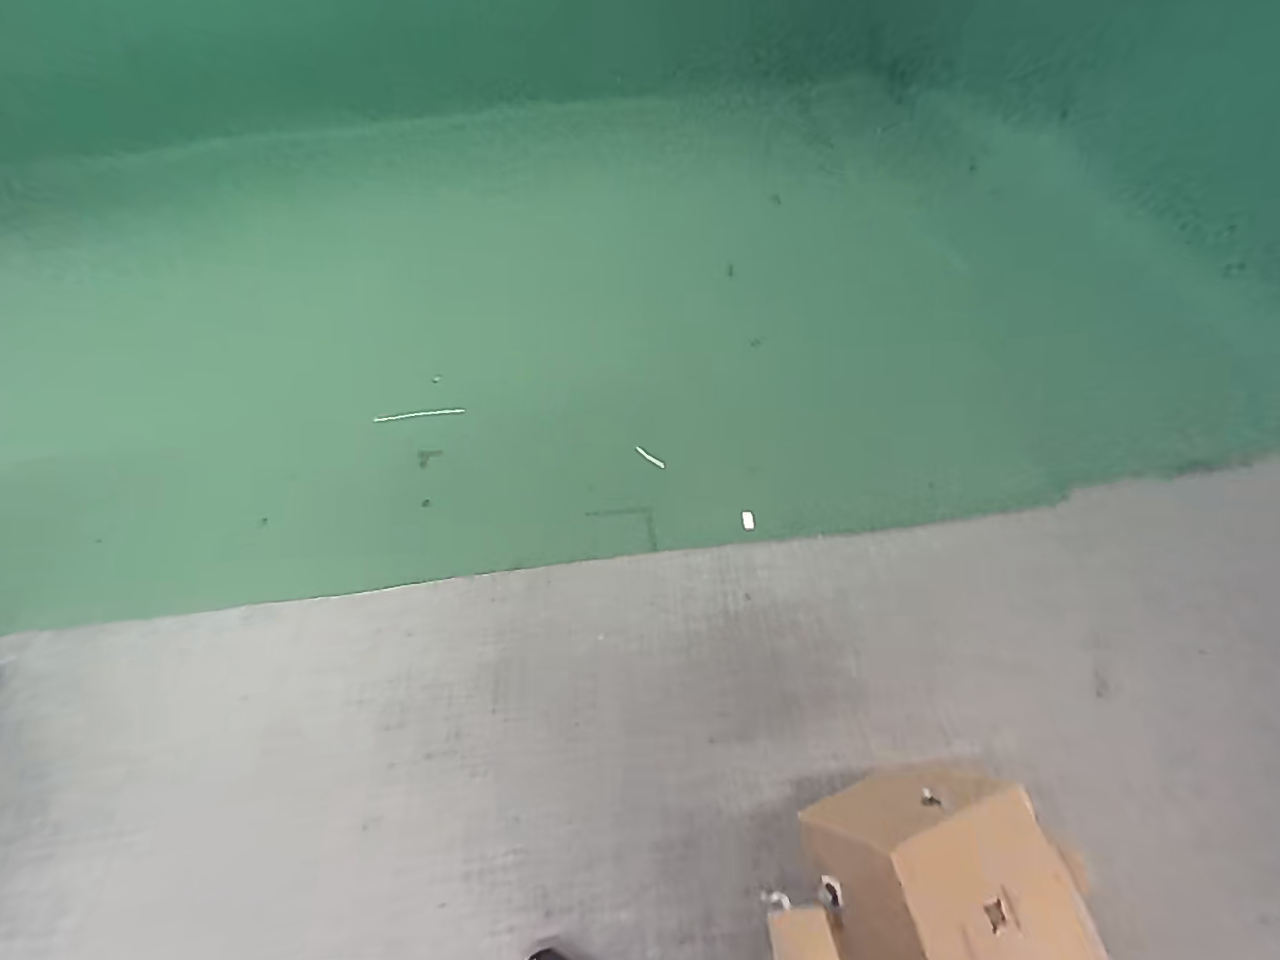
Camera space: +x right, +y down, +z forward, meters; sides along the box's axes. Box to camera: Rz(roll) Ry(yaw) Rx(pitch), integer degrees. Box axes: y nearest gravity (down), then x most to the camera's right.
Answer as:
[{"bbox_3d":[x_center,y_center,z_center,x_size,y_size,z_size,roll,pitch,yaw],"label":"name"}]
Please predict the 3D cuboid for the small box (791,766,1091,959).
[{"bbox_3d":[0.291,0.413,0.556,0.179,0.176,0.168,-10,72,-21],"label":"small box"}]
